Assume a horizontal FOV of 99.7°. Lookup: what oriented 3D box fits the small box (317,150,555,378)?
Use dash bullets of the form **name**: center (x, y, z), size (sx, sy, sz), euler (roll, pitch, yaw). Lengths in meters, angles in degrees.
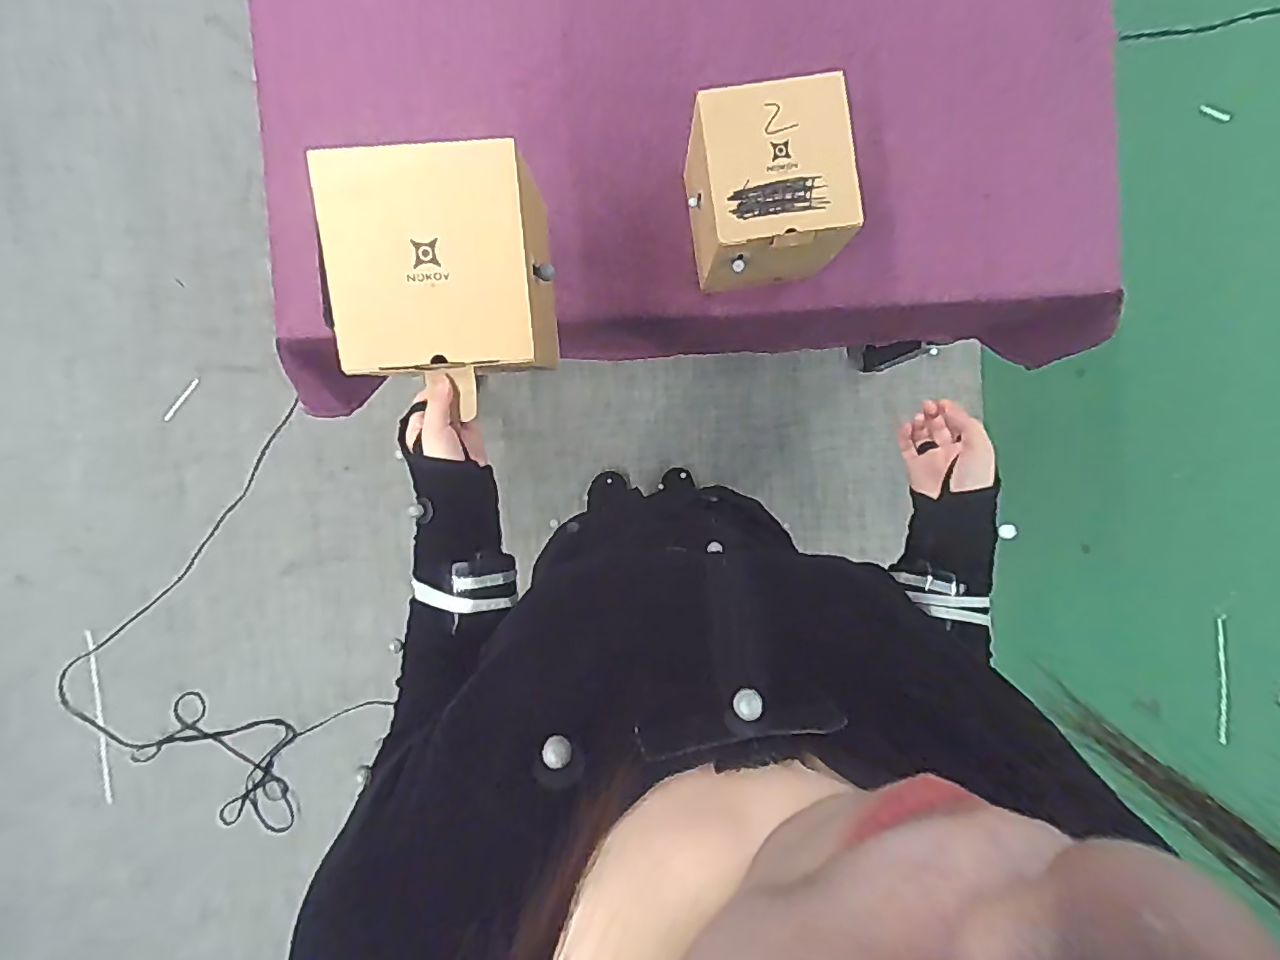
- **small box**: center (-0.179, -0.194, 0.532), size (0.168, 0.176, 0.179), euler (-4, 101, -1)
